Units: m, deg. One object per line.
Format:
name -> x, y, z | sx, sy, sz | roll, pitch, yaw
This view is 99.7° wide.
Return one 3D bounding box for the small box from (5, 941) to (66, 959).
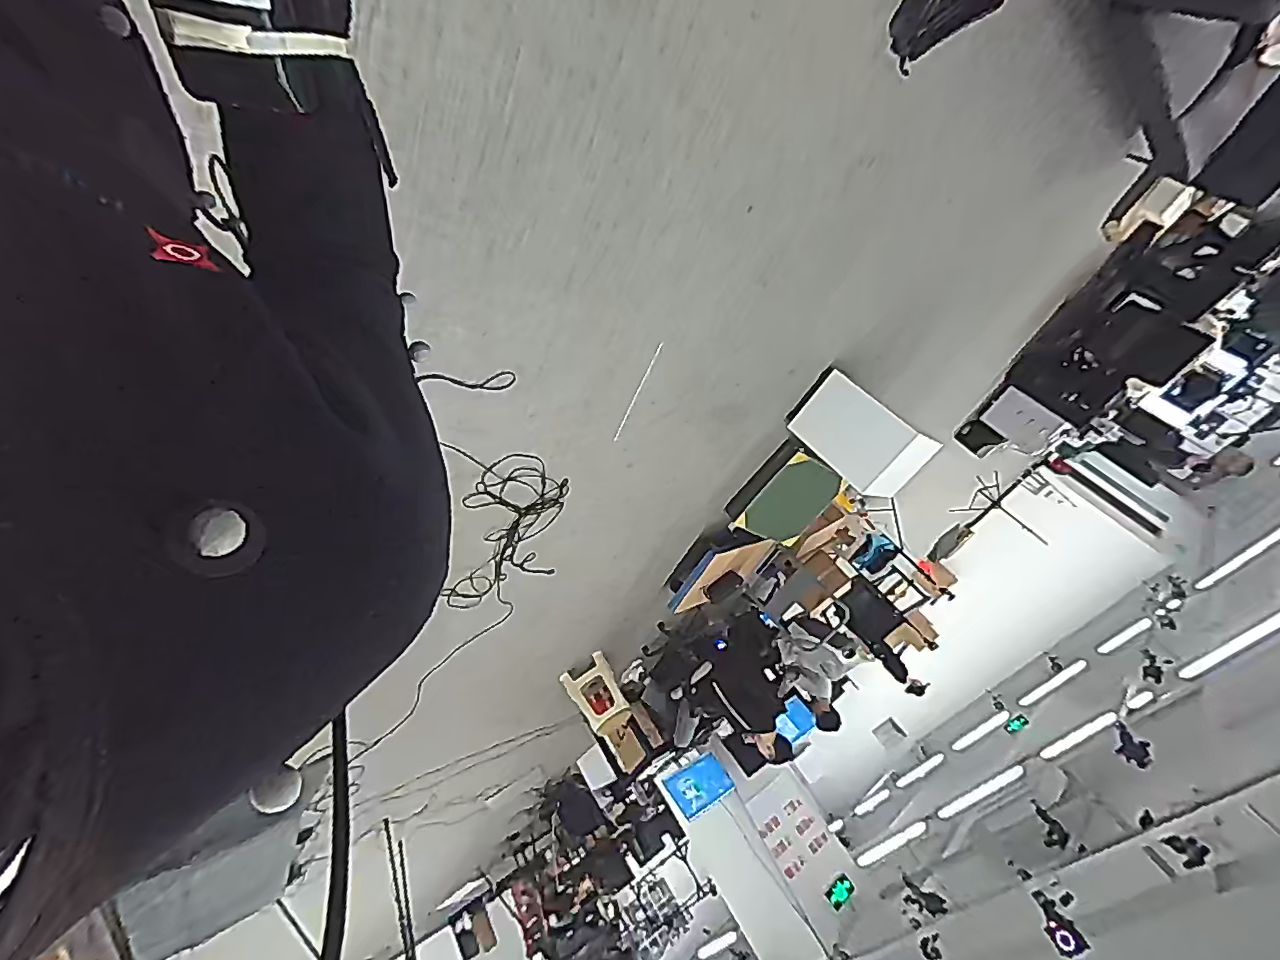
small box -> -1.300, 1.099, 1.105 | 0.168, 0.176, 0.179 | -7, 137, -43
